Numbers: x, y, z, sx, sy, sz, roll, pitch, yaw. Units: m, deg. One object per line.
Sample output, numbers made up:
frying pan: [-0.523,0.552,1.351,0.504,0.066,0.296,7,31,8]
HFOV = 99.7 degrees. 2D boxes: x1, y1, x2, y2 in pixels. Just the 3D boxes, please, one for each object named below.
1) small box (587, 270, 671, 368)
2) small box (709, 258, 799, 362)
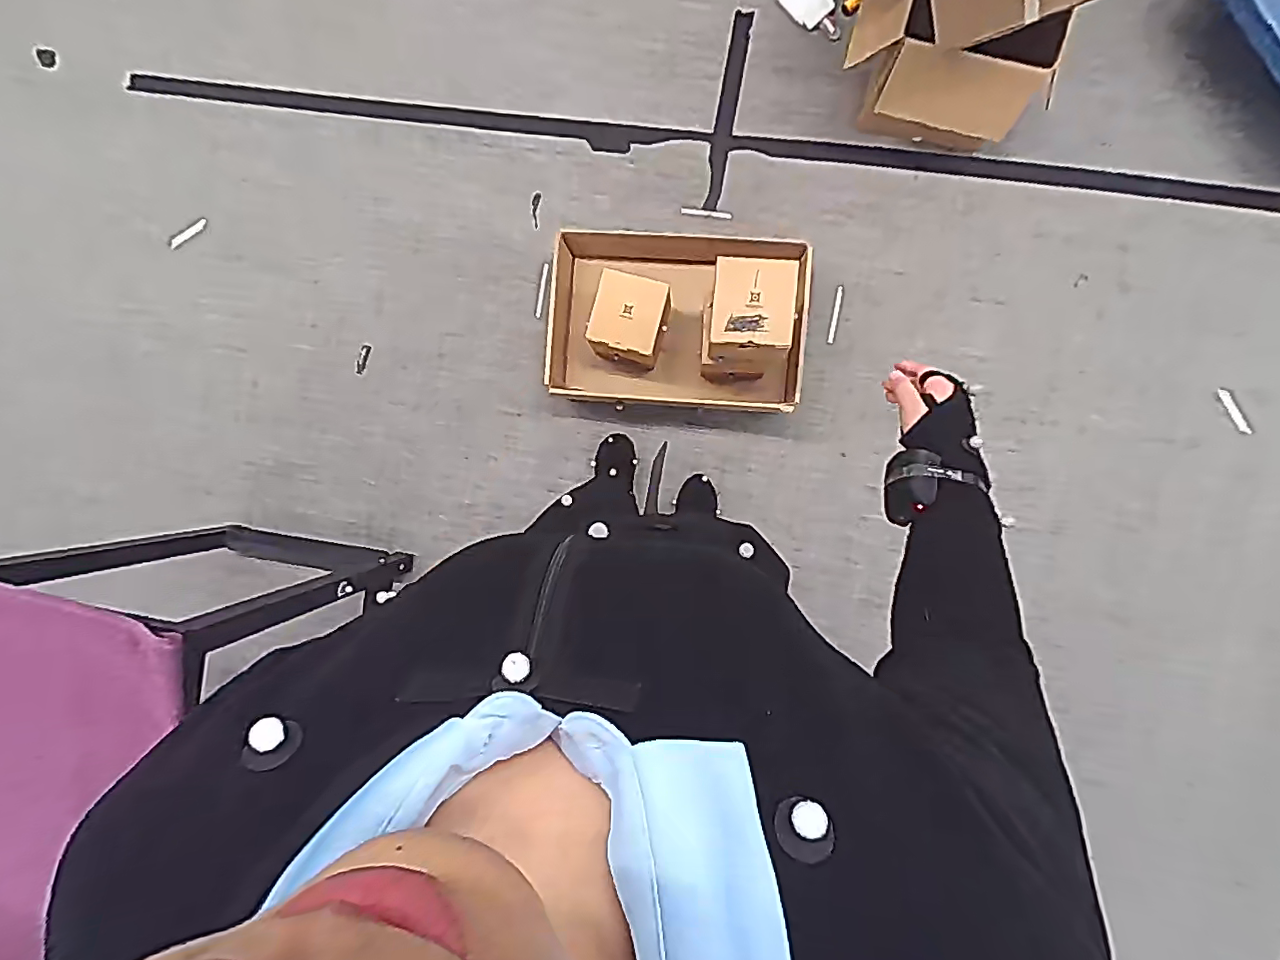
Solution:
small box: [-0.023,-0.396,1.357,0.168,0.176,0.179,15,93,3]
small box: [0.238,-0.358,1.168,0.168,0.176,0.179,5,91,5]
